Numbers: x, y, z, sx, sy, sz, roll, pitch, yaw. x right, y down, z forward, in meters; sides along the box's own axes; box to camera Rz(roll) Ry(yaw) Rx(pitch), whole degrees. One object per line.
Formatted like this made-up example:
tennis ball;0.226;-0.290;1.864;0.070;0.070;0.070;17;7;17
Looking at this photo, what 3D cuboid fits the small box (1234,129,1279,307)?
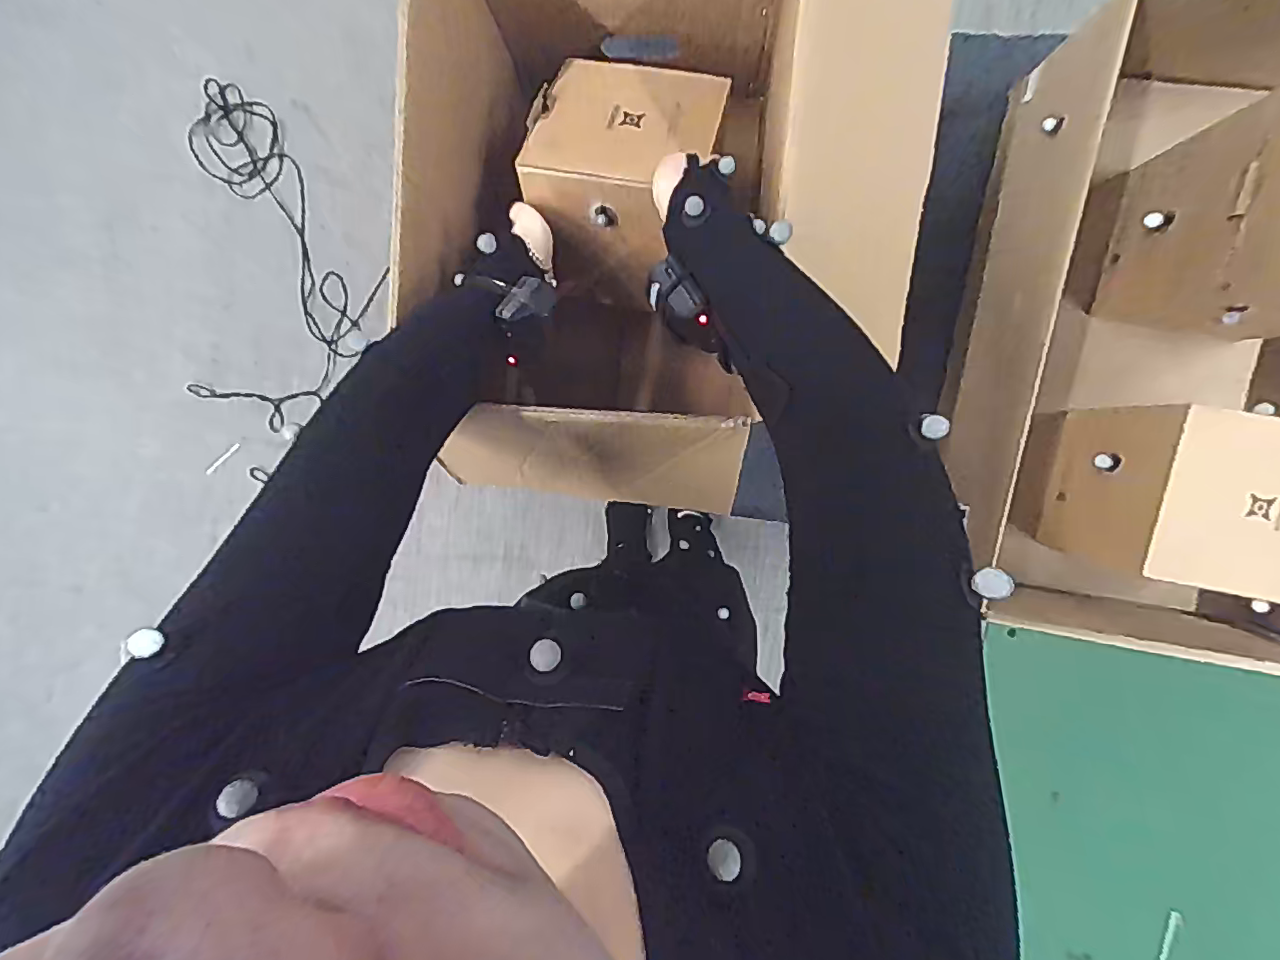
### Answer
small box;0.596;-0.219;0.377;0.168;0.176;0.179;10;99;4
